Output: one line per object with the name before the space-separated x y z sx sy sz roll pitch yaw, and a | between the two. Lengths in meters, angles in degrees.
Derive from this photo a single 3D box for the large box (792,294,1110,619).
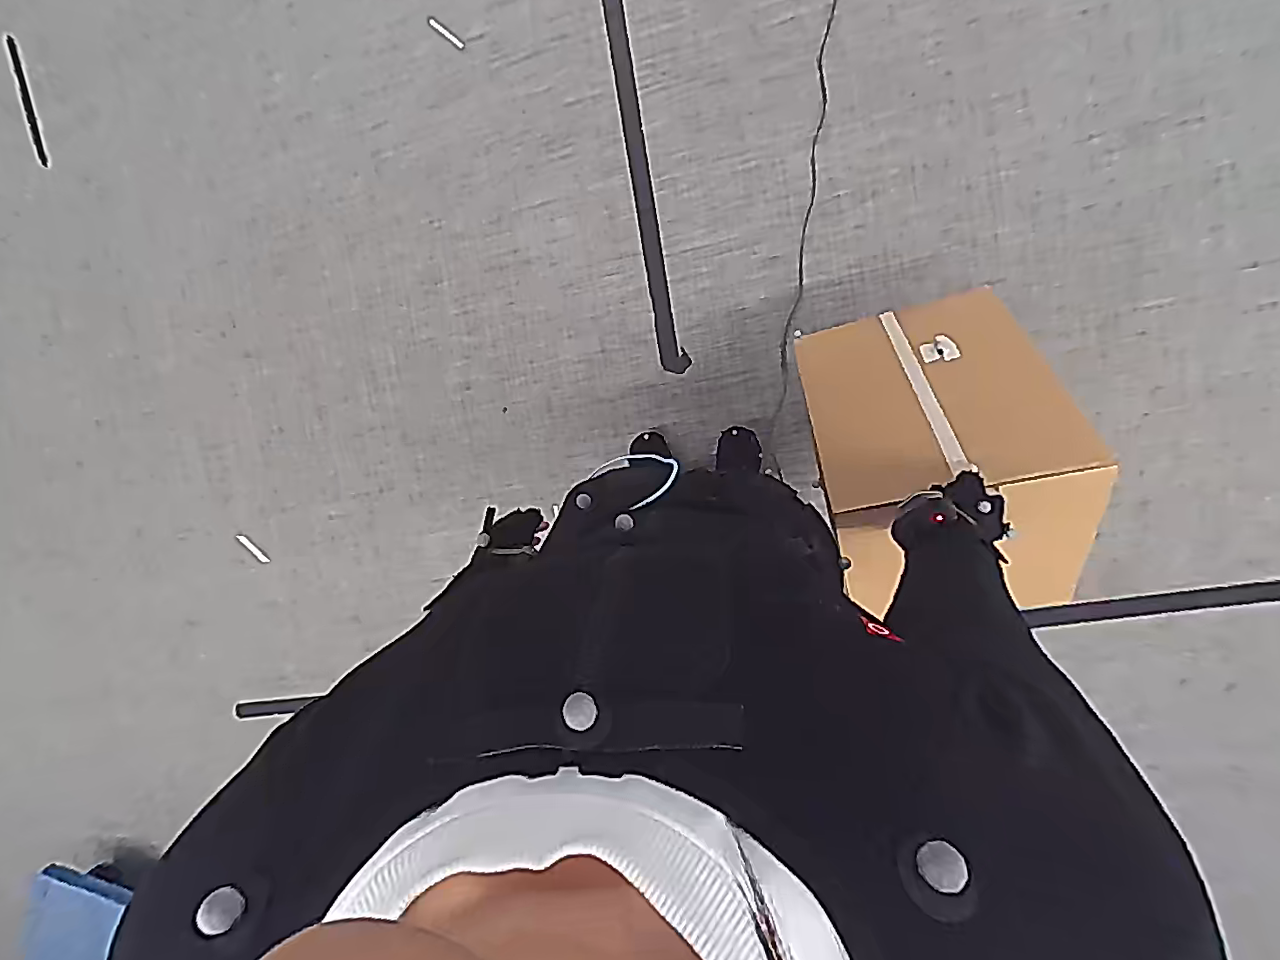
large box | 0.463 -0.036 0.898 0.320 0.408 0.320 -12 134 16
